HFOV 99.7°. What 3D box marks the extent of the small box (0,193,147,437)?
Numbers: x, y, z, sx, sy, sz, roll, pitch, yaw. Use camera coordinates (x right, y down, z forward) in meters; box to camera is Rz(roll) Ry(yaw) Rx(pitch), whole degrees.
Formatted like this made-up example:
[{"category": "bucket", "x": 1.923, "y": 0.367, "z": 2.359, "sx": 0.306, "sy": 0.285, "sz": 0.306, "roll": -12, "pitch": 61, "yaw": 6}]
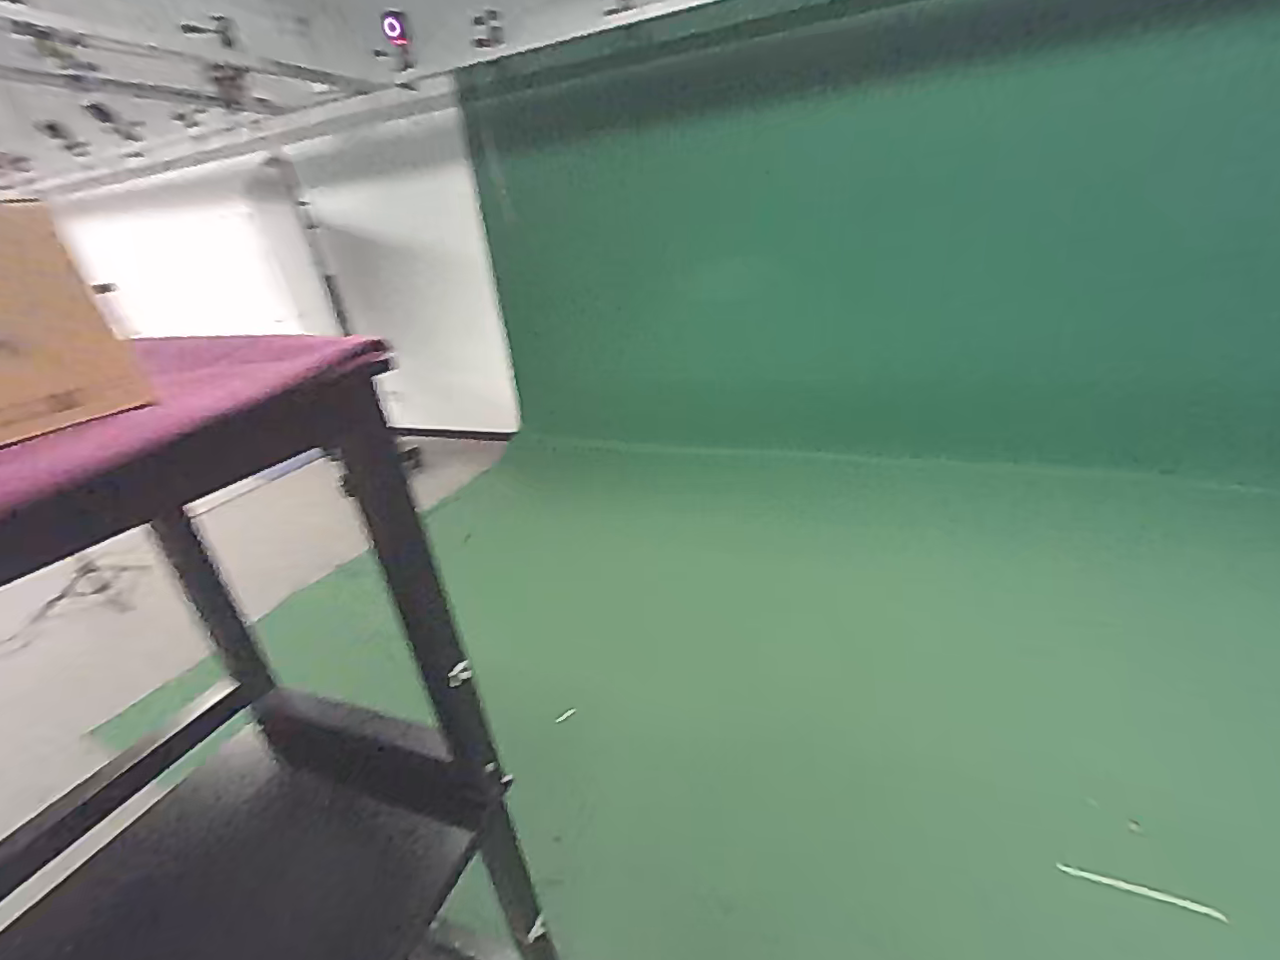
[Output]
[{"category": "small box", "x": -0.559, "y": -0.121, "z": 0.435, "sx": 0.179, "sy": 0.176, "sz": 0.168, "roll": 7, "pitch": 30, "yaw": 29}]
